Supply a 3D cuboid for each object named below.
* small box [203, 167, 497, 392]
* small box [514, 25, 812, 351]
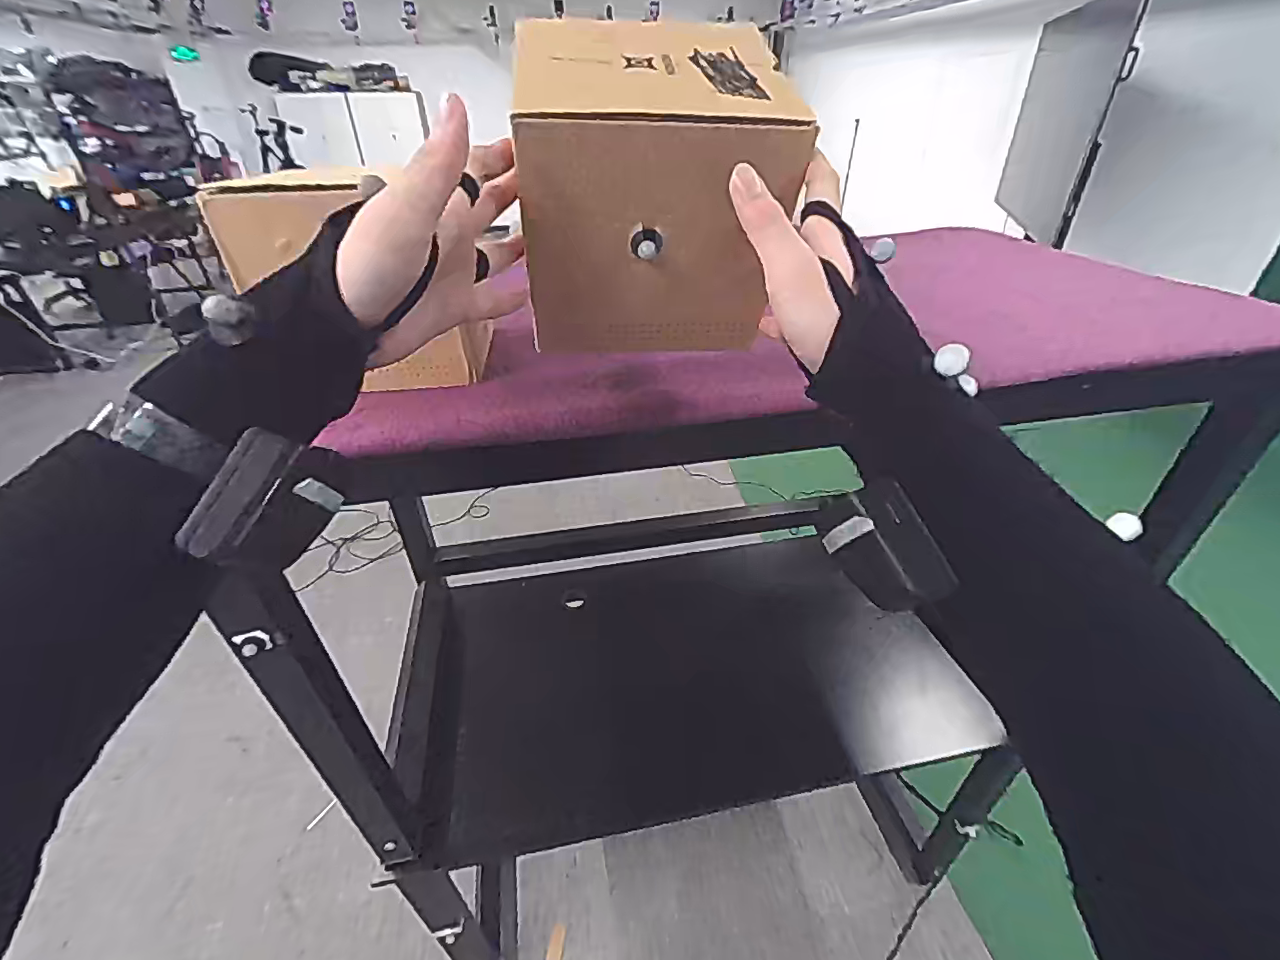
[{"bbox_3d":[-0.245,-0.192,0.513,0.179,0.176,0.168,-6,35,-6],"label":"small box"},{"bbox_3d":[0.004,-0.216,0.417,0.179,0.176,0.168,-3,53,-6],"label":"small box"}]
